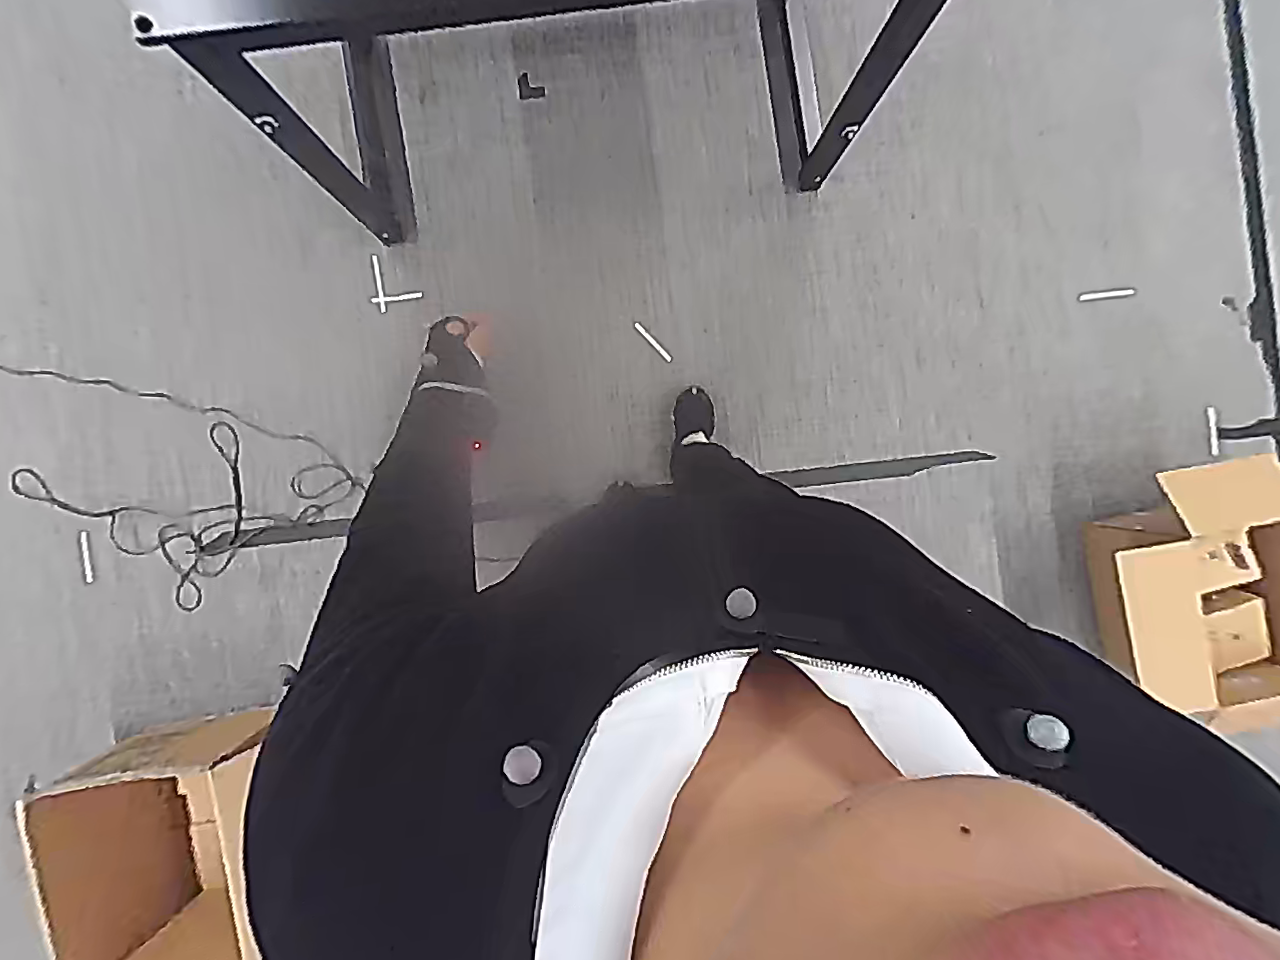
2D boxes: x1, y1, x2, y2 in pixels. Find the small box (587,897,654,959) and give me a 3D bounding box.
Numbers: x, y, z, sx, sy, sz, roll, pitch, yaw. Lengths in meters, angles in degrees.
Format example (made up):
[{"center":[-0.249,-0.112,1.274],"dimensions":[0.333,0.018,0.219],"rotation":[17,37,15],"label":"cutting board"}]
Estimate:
[{"center":[-0.049,1.215,1.390],"dimensions":[0.168,0.176,0.179],"rotation":[-3,90,-2],"label":"small box"}]
